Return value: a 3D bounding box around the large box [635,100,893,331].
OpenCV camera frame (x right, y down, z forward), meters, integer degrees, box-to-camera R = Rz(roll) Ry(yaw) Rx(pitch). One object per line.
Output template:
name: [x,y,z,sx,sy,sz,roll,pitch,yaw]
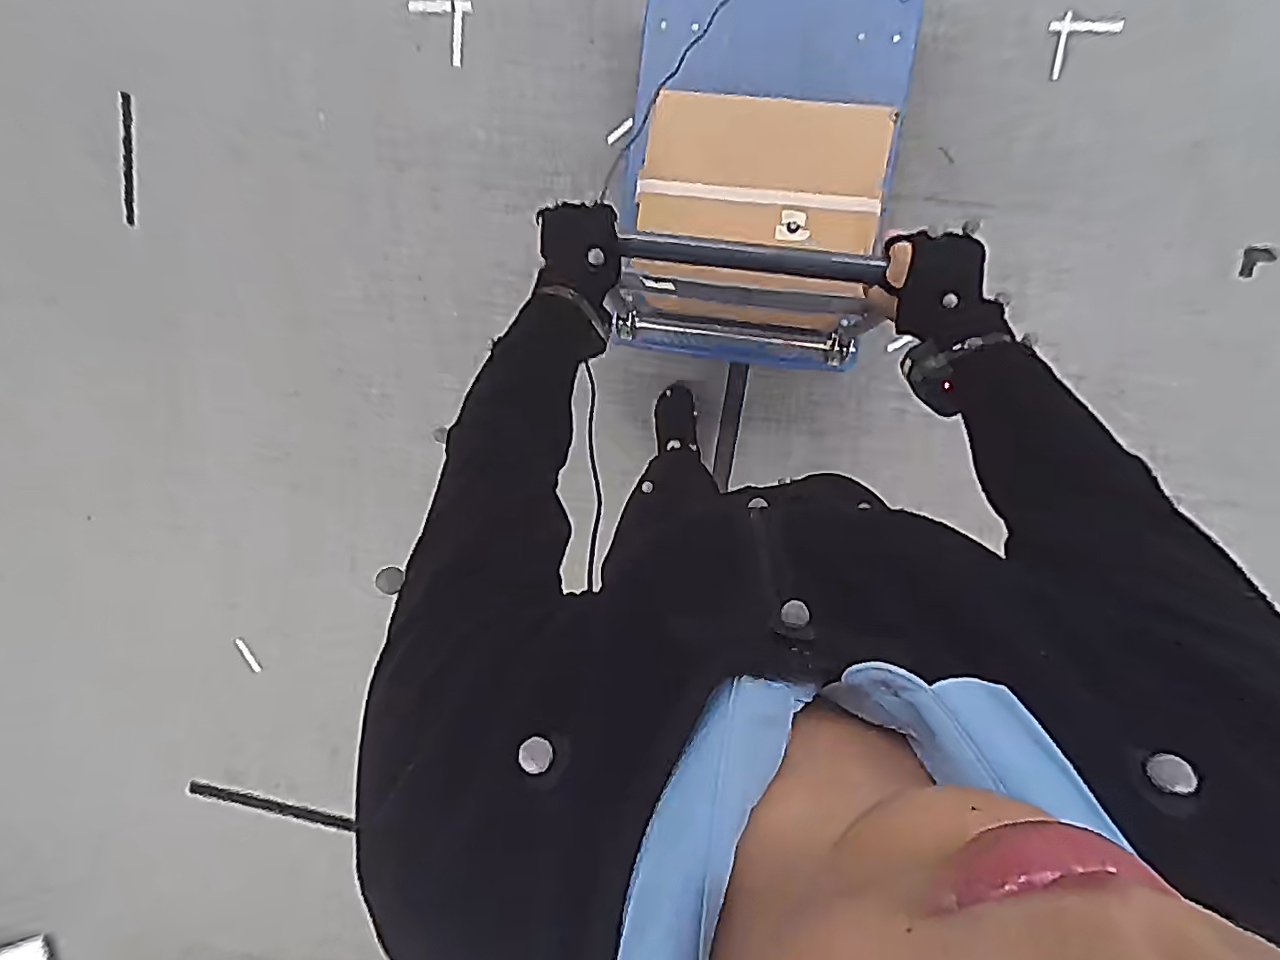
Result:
large box: [0.218,-0.492,1.072,0.408,0.320,0.320,9,99,6]
